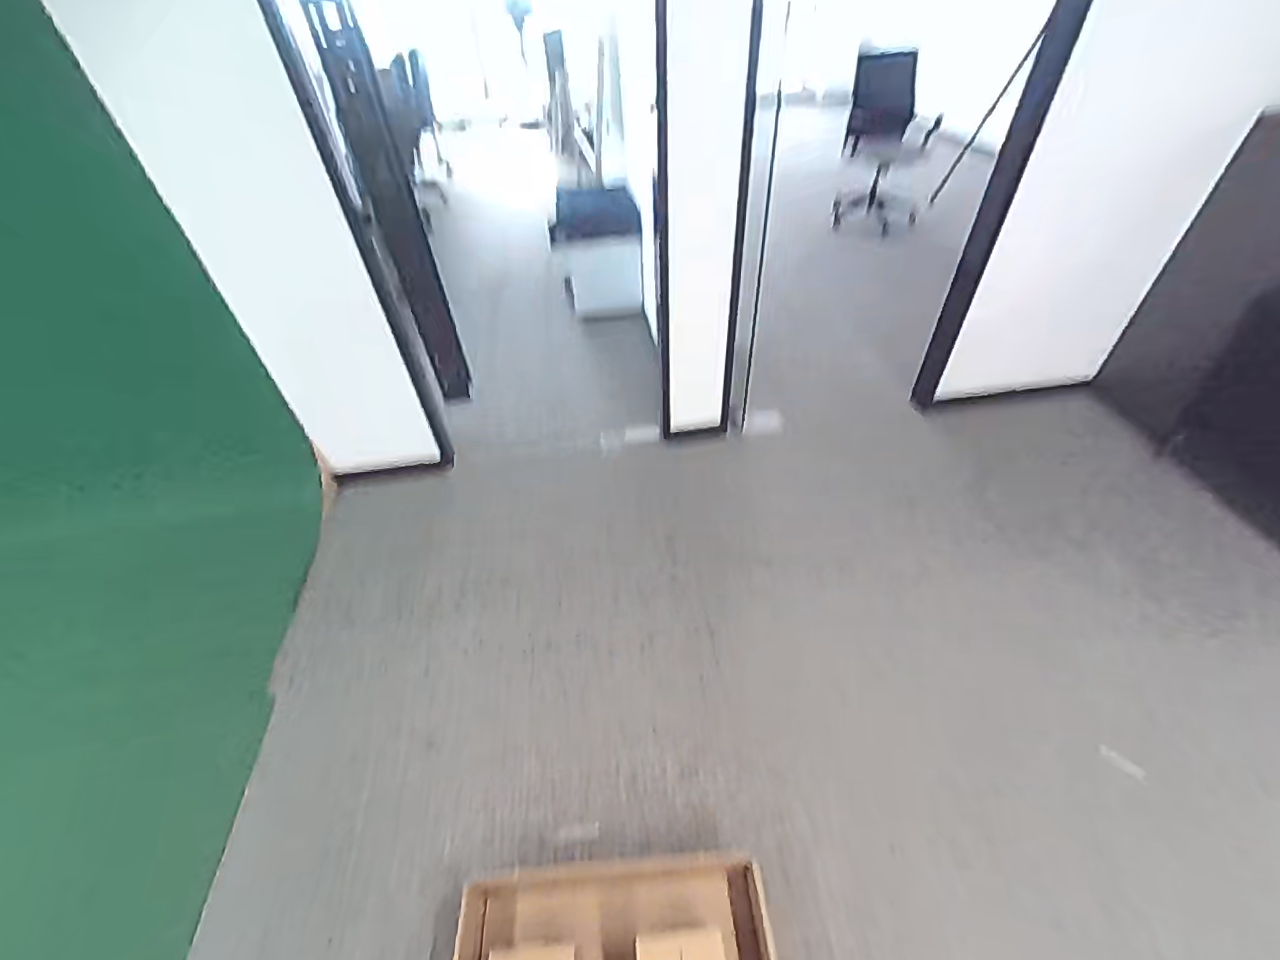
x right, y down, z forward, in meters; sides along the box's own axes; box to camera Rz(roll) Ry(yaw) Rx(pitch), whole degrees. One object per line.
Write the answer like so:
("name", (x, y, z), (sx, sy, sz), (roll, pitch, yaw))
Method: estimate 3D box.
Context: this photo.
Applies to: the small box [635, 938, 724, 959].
("small box", (0.082, 0.985, 1.007), (0.168, 0.176, 0.179), (-5, 42, -1))
